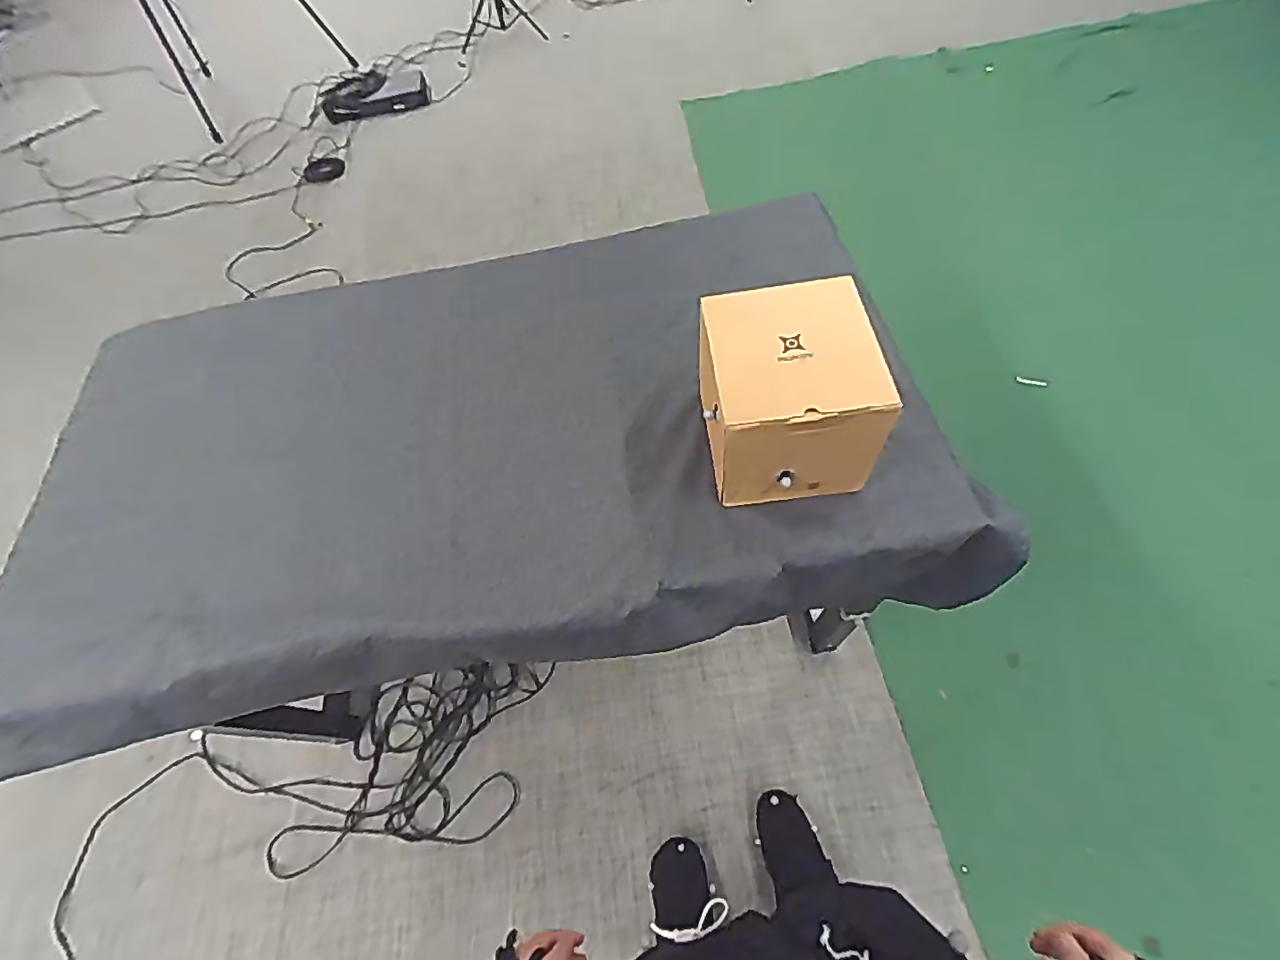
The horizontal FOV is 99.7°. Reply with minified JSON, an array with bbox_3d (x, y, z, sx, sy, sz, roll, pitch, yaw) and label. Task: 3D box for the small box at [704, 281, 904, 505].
[{"bbox_3d":[0.164,-0.092,0.612,0.168,0.176,0.179,-8,60,3],"label":"small box"}]
